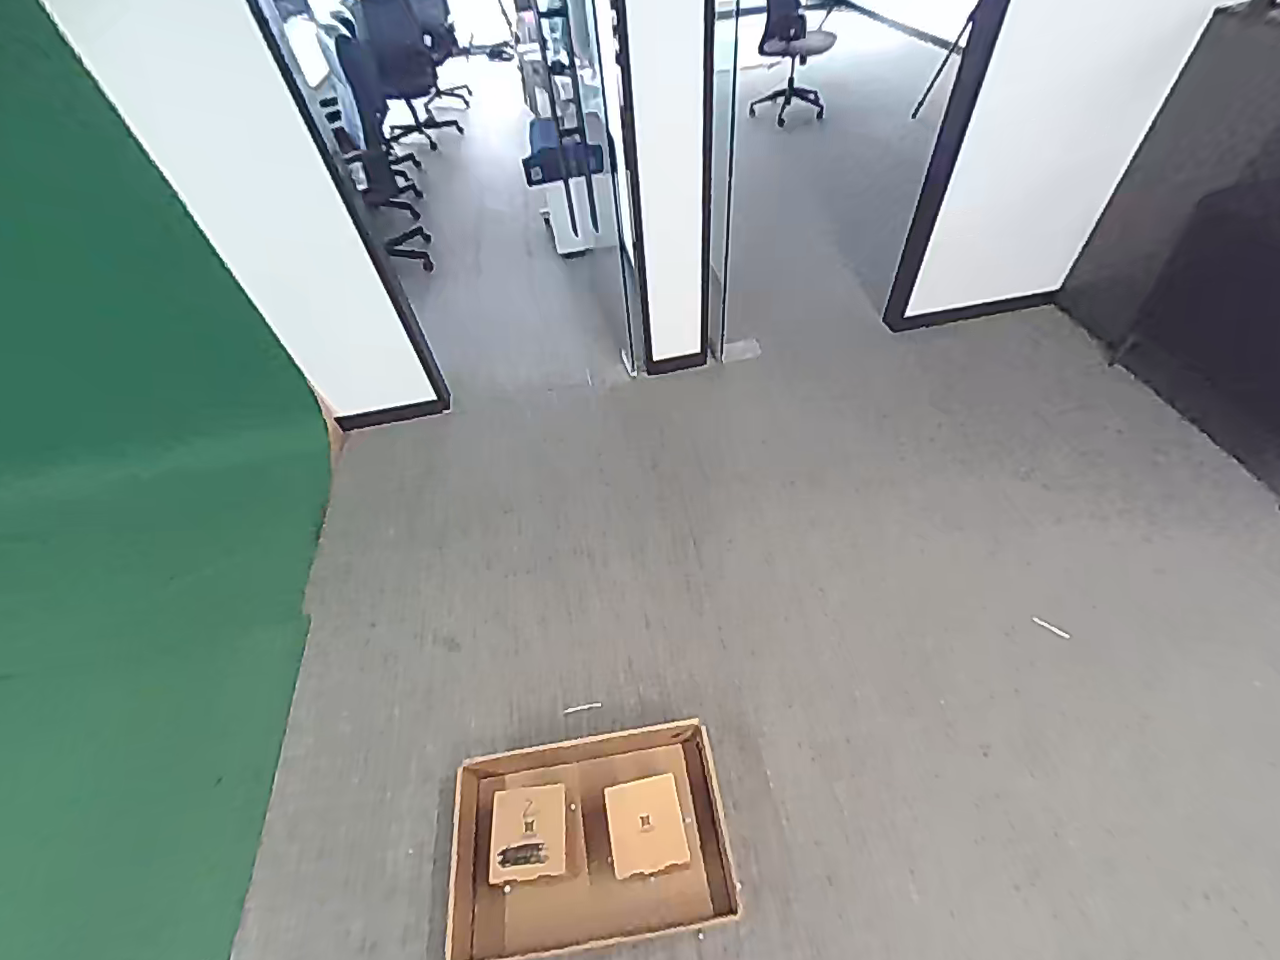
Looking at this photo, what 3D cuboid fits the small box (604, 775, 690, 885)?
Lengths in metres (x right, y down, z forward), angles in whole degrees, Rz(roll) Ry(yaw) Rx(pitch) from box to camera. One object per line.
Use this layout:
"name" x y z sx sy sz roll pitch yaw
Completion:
"small box" 0.015 0.814 1.254 0.168 0.176 0.179 -11 51 -4
